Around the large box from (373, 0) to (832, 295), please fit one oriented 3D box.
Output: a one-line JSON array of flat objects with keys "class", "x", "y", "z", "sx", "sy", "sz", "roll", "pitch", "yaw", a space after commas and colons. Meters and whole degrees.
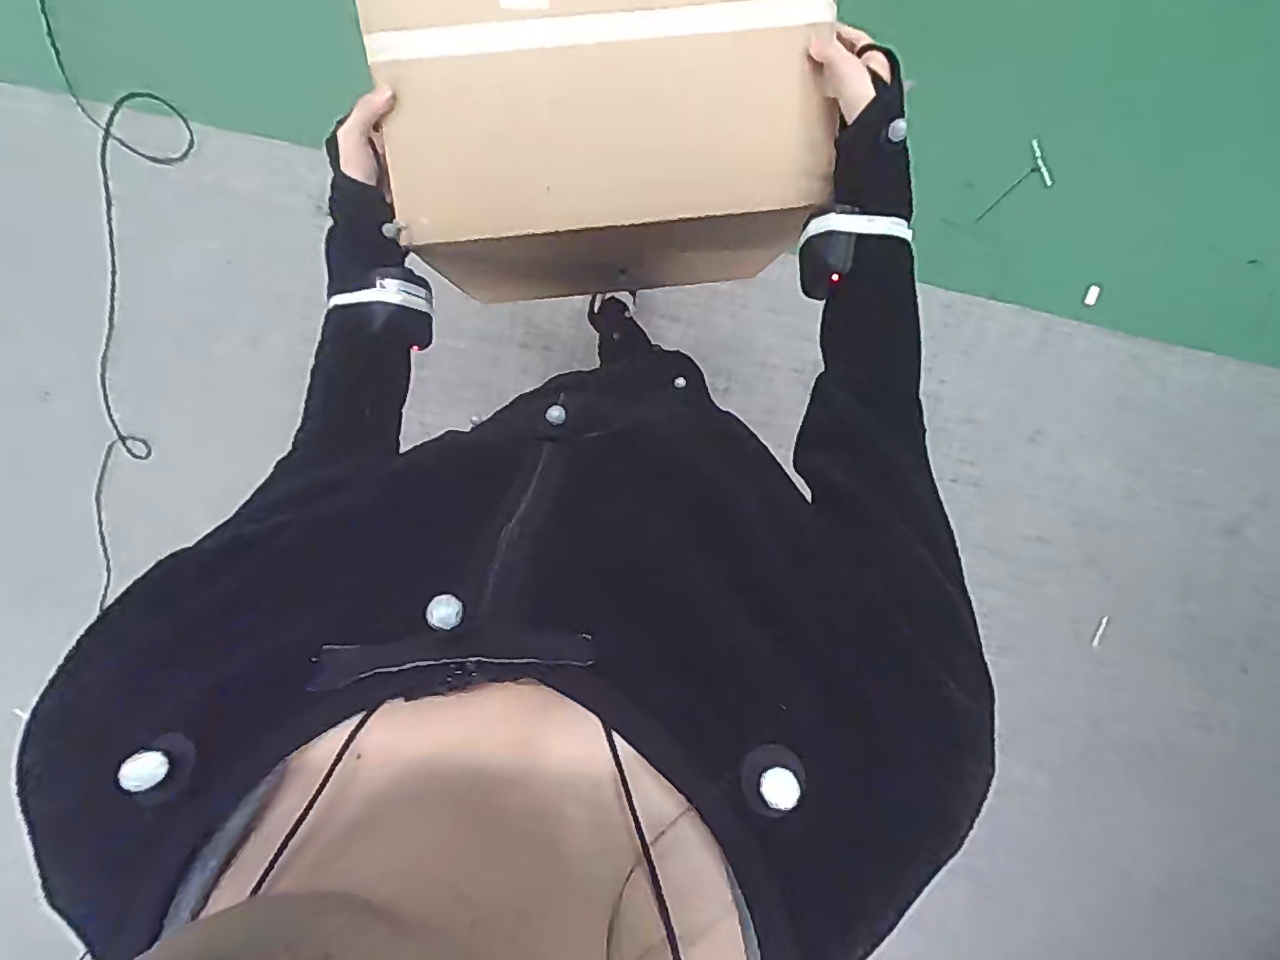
[{"class": "large box", "x": -0.036, "y": -0.414, "z": 0.628, "sx": 0.408, "sy": 0.320, "sz": 0.320, "roll": -6, "pitch": 99, "yaw": -2}]
